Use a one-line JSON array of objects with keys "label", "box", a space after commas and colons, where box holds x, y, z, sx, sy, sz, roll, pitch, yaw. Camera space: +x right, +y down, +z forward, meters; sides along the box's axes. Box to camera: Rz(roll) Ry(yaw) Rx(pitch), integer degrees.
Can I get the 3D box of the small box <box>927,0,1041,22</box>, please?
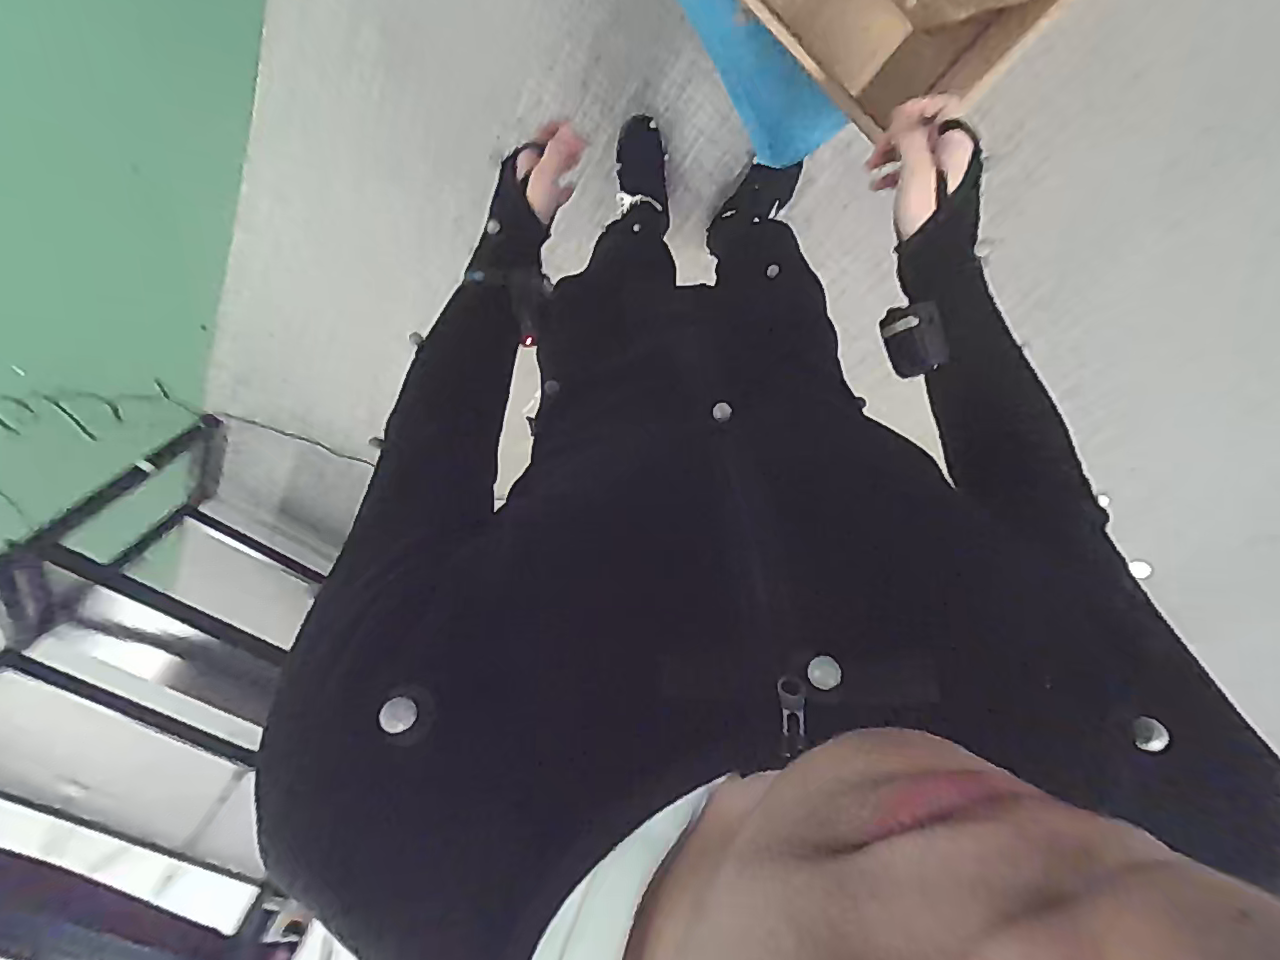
[{"label": "small box", "box": [0.262, -0.455, 0.355, 0.168, 0.176, 0.179, 37, 125, -16]}]
